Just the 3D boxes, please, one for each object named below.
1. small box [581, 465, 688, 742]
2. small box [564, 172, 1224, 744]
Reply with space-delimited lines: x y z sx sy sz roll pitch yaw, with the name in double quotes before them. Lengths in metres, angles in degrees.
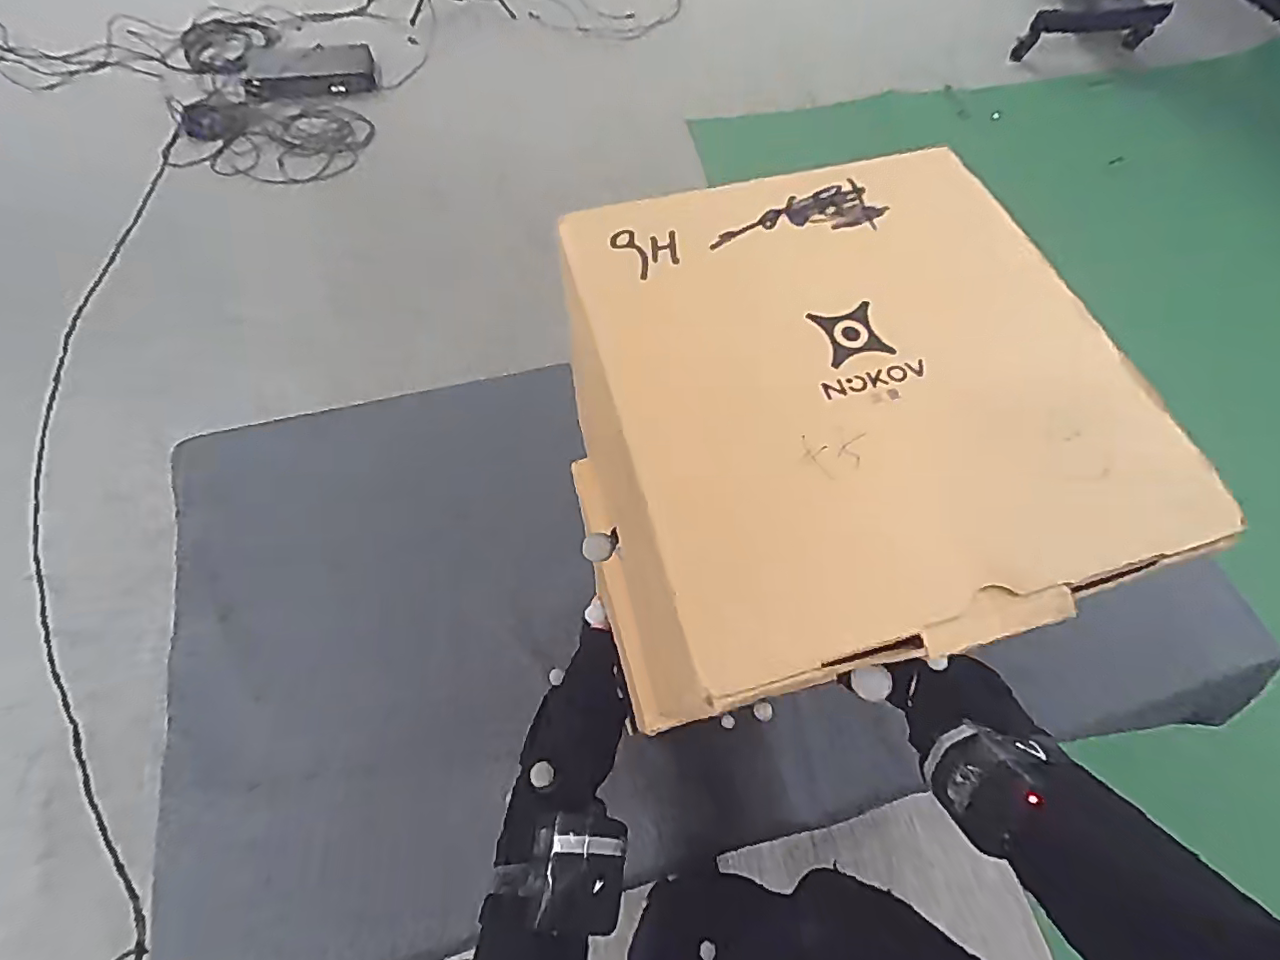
"small box" 0.063 0.077 0.397 0.179 0.176 0.168 -14 68 -7
"small box" 0.069 0.002 0.252 0.168 0.176 0.179 -14 68 -8
